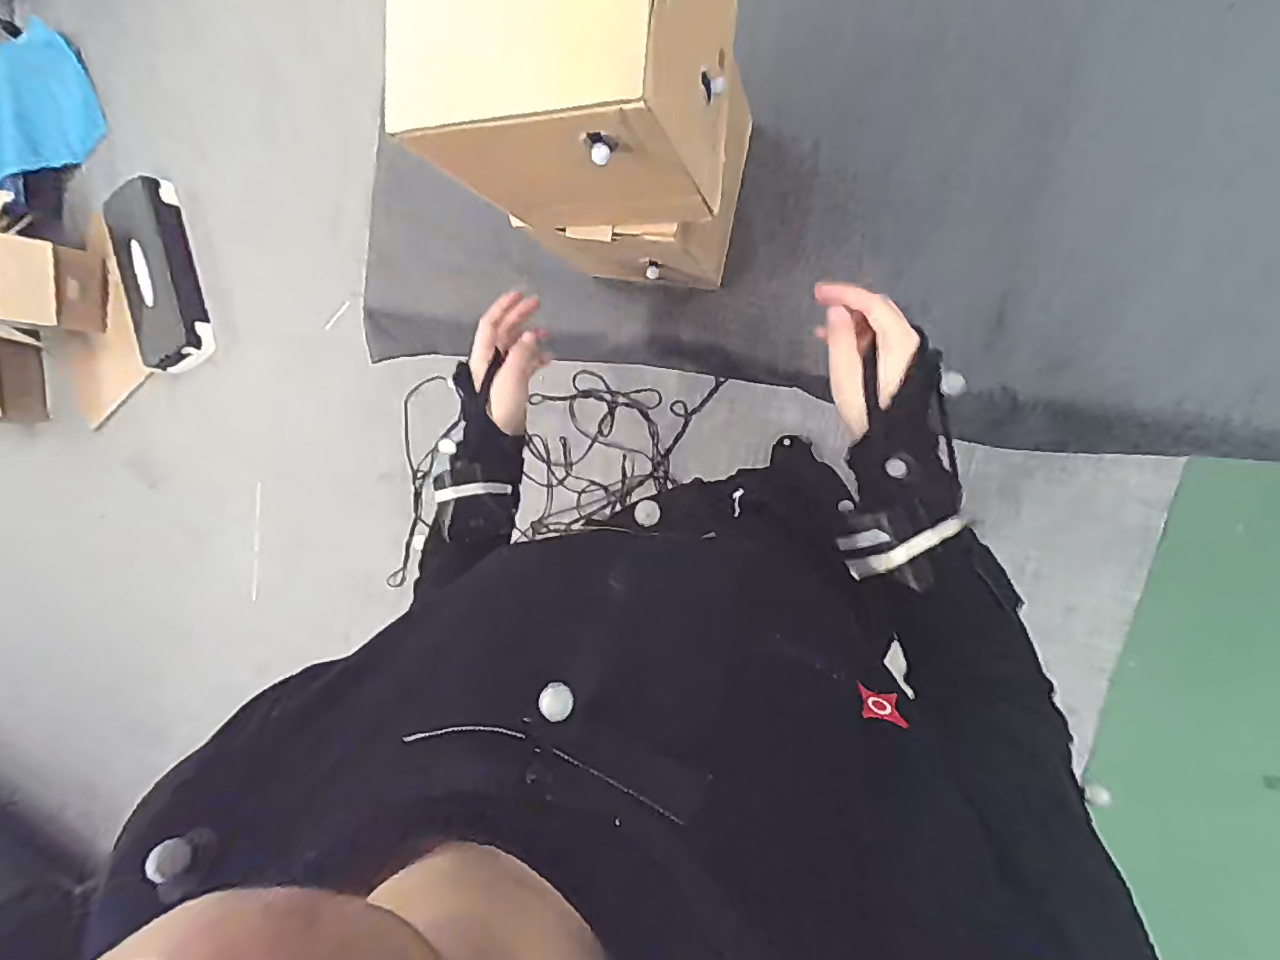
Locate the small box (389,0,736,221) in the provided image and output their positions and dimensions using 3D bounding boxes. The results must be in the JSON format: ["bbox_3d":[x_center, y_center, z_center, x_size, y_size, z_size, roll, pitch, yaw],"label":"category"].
[{"bbox_3d":[-0.041,-0.294,0.373,0.179,0.176,0.168,6,97,19],"label":"small box"}]

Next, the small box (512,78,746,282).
[{"bbox_3d":[0.000,-0.307,0.531,0.168,0.176,0.179,13,98,18],"label":"small box"}]
